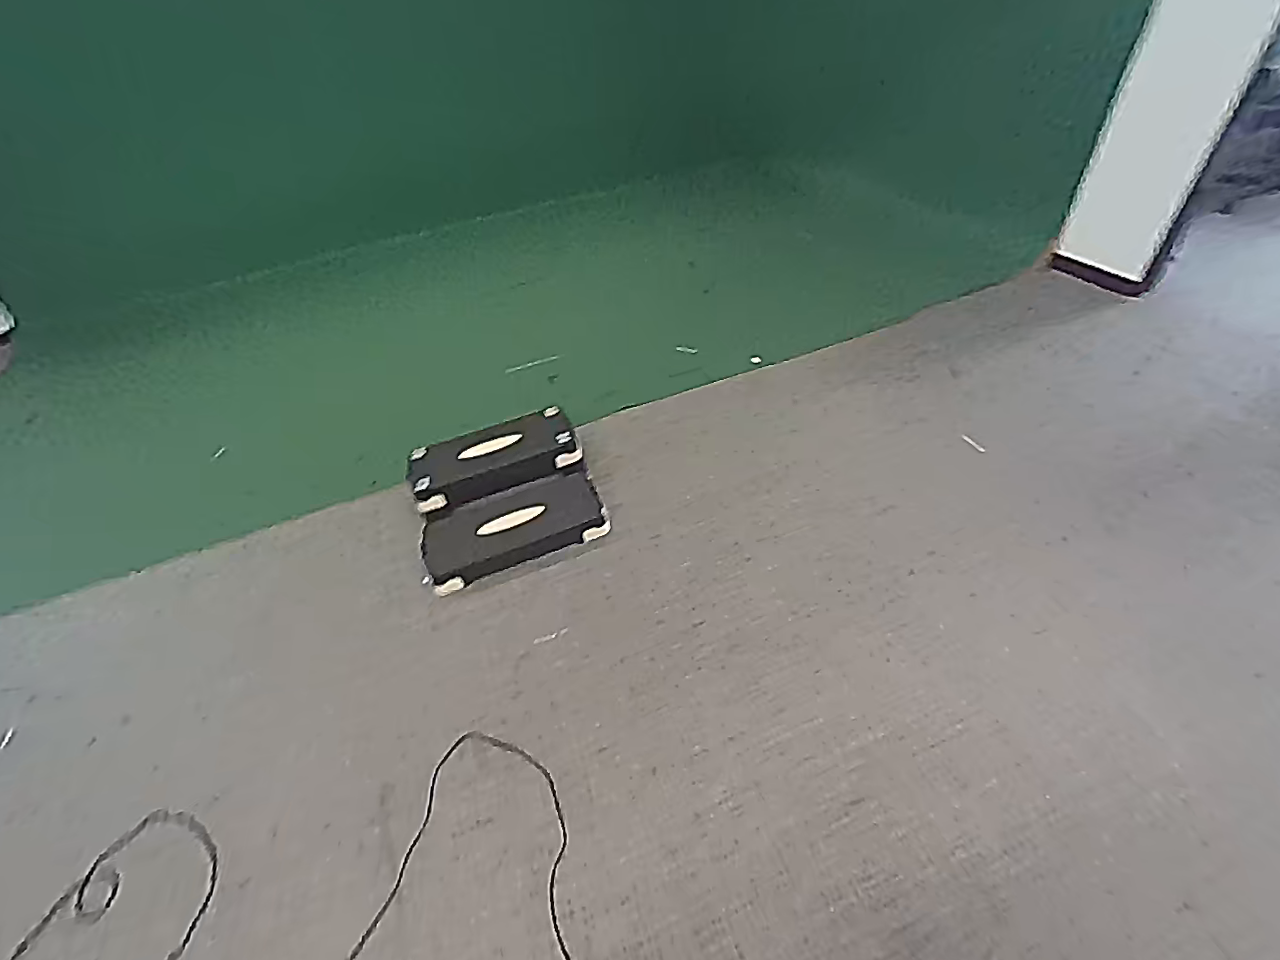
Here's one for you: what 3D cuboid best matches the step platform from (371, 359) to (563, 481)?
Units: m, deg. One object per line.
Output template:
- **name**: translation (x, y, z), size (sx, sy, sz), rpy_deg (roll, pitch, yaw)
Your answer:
- **step platform**: translation (-0.648, -0.237, 2.083), size (0.684, 0.204, 0.286), rpy_deg (-20, 46, -10)
